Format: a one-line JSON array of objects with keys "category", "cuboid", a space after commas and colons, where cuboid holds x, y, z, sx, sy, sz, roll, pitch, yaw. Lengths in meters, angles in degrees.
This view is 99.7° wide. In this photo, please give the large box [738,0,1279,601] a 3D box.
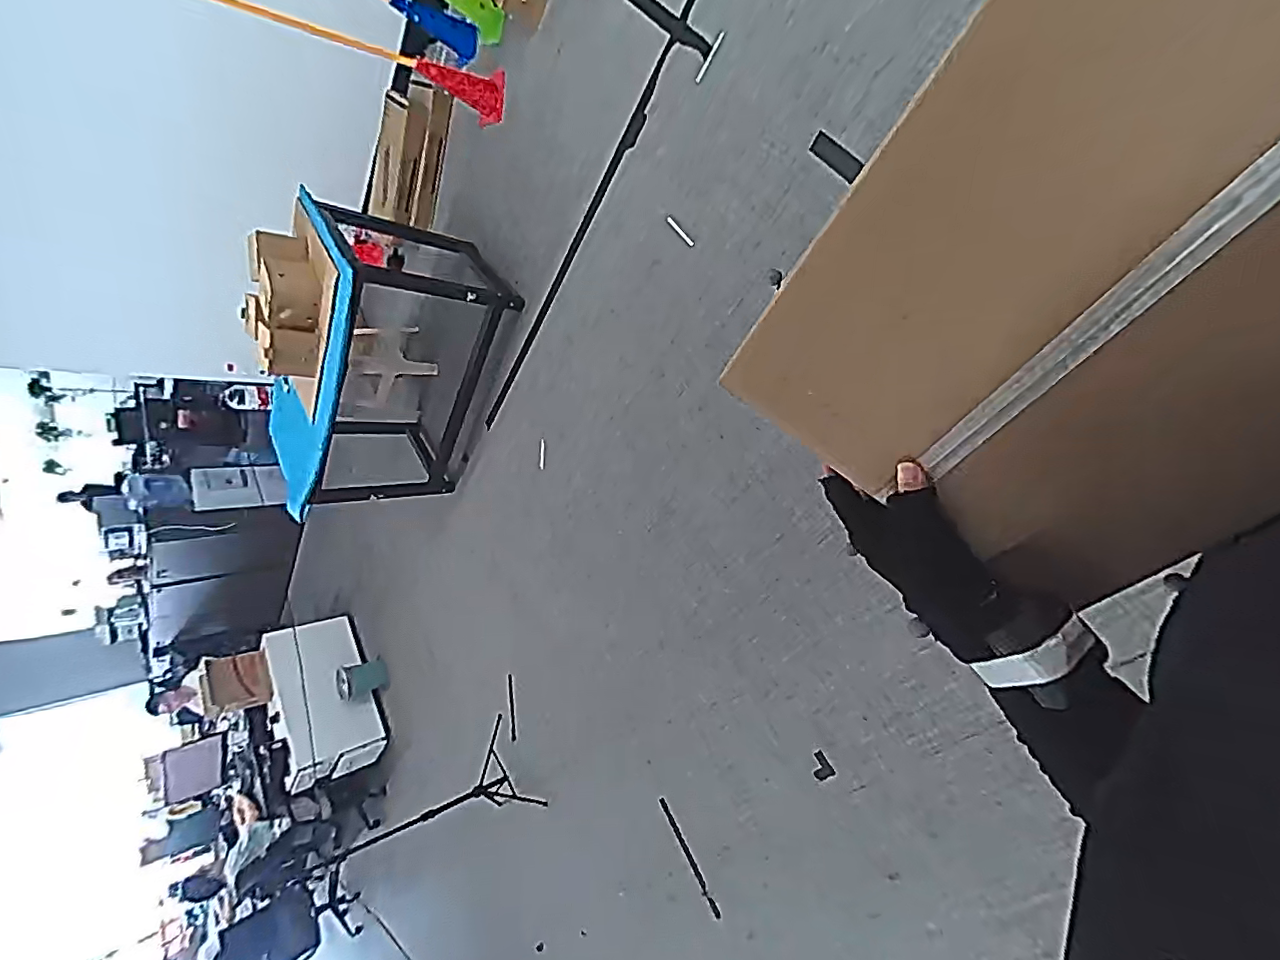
[{"category": "large box", "cuboid": [0.338, -0.193, 0.411, 0.320, 0.320, 0.408, 35, 130, 1]}]
